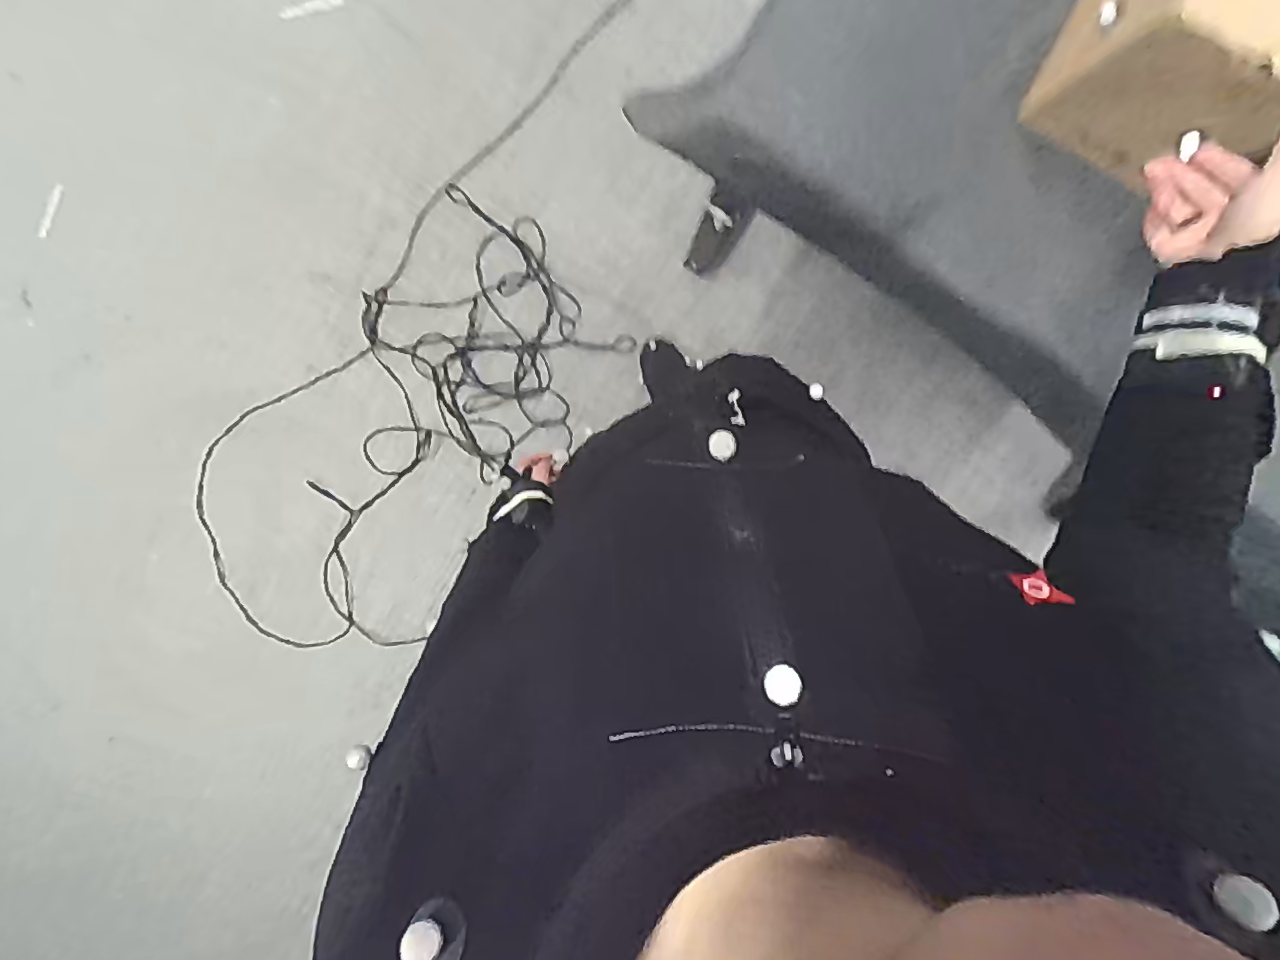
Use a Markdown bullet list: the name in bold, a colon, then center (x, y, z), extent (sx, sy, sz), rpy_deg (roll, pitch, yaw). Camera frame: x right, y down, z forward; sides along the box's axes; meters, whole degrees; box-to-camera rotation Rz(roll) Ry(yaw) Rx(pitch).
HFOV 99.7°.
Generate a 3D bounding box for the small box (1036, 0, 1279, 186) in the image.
- **small box**: center (0.497, -0.393, 0.467), extent (0.168, 0.176, 0.179), rpy_deg (25, 98, -6)
